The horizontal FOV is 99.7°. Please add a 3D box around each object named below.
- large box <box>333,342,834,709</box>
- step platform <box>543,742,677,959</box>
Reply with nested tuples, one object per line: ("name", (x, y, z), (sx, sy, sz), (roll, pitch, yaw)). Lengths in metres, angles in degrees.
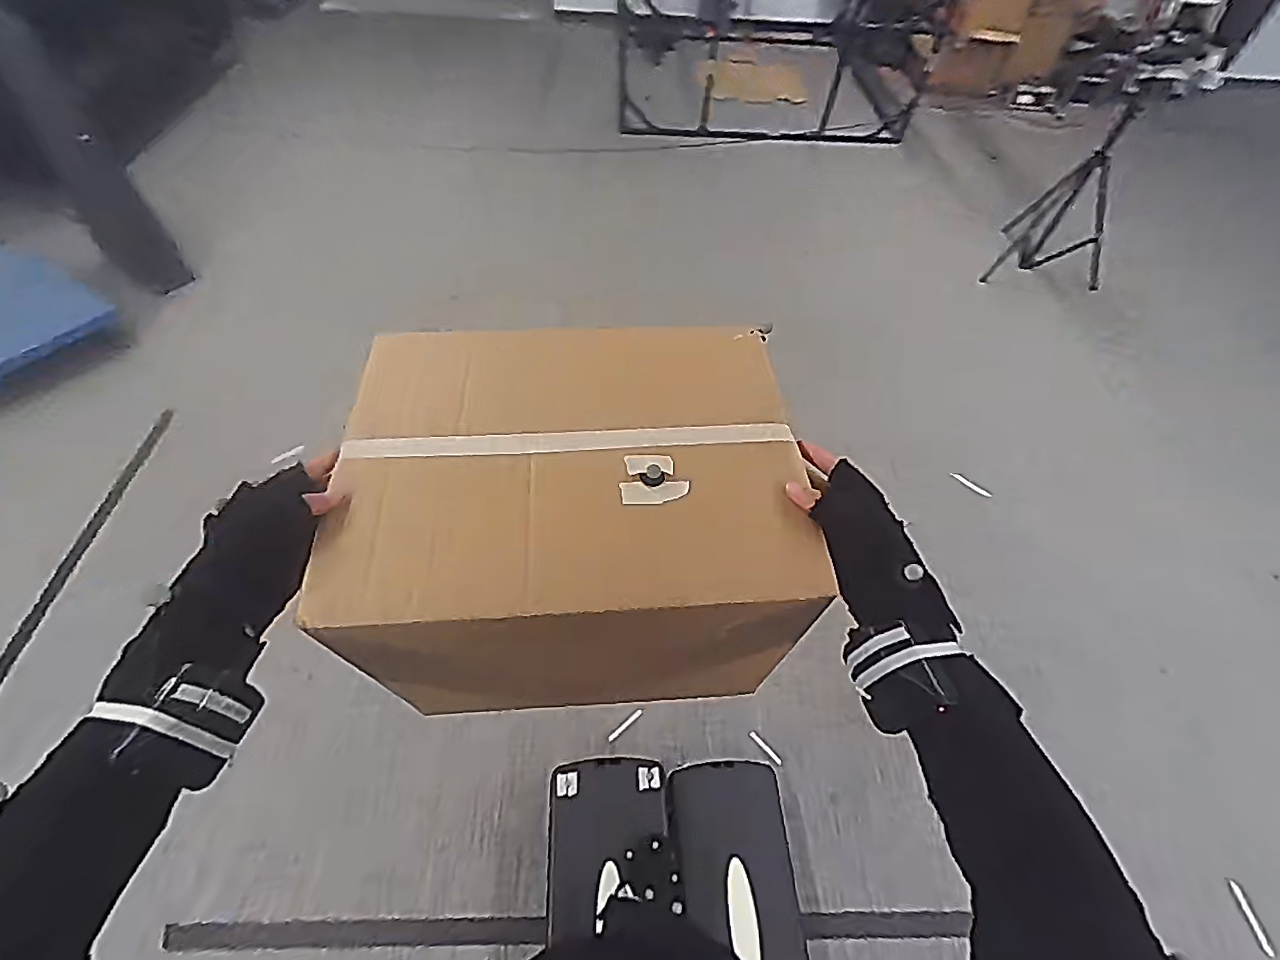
("large box", (-0.056, 0.060, 0.629), (0.408, 0.320, 0.320), (-1, 56, -4))
("step platform", (-0.070, 0.972, 1.221), (0.286, 0.204, 0.684), (-1, 53, -4))
